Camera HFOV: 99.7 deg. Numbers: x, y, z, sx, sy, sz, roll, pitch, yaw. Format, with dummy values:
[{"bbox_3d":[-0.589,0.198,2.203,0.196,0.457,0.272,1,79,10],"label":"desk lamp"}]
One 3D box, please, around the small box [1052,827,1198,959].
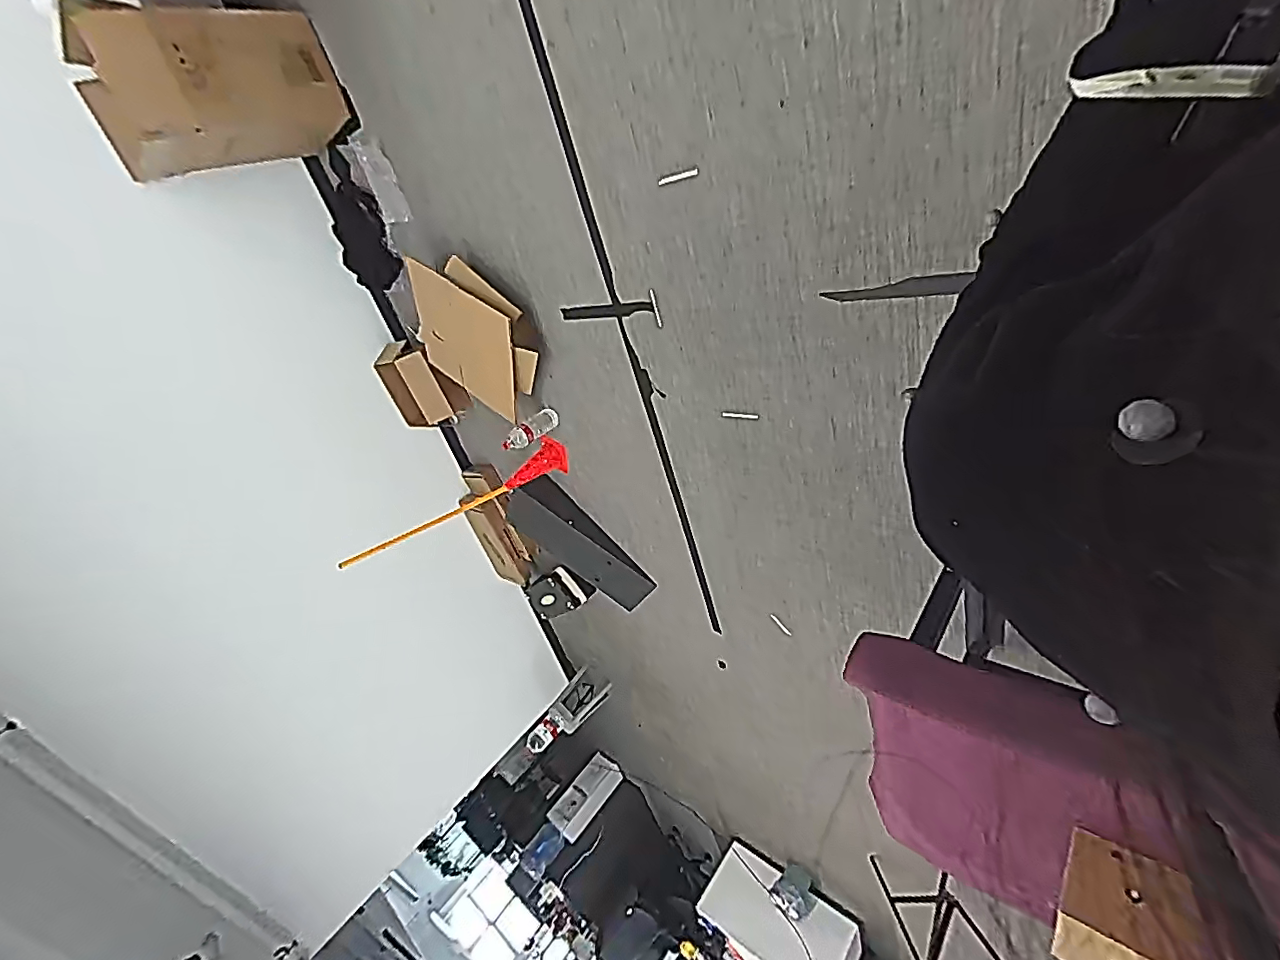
[{"bbox_3d":[0.852,0.766,0.954,0.168,0.176,0.179,12,131,43],"label":"small box"}]
